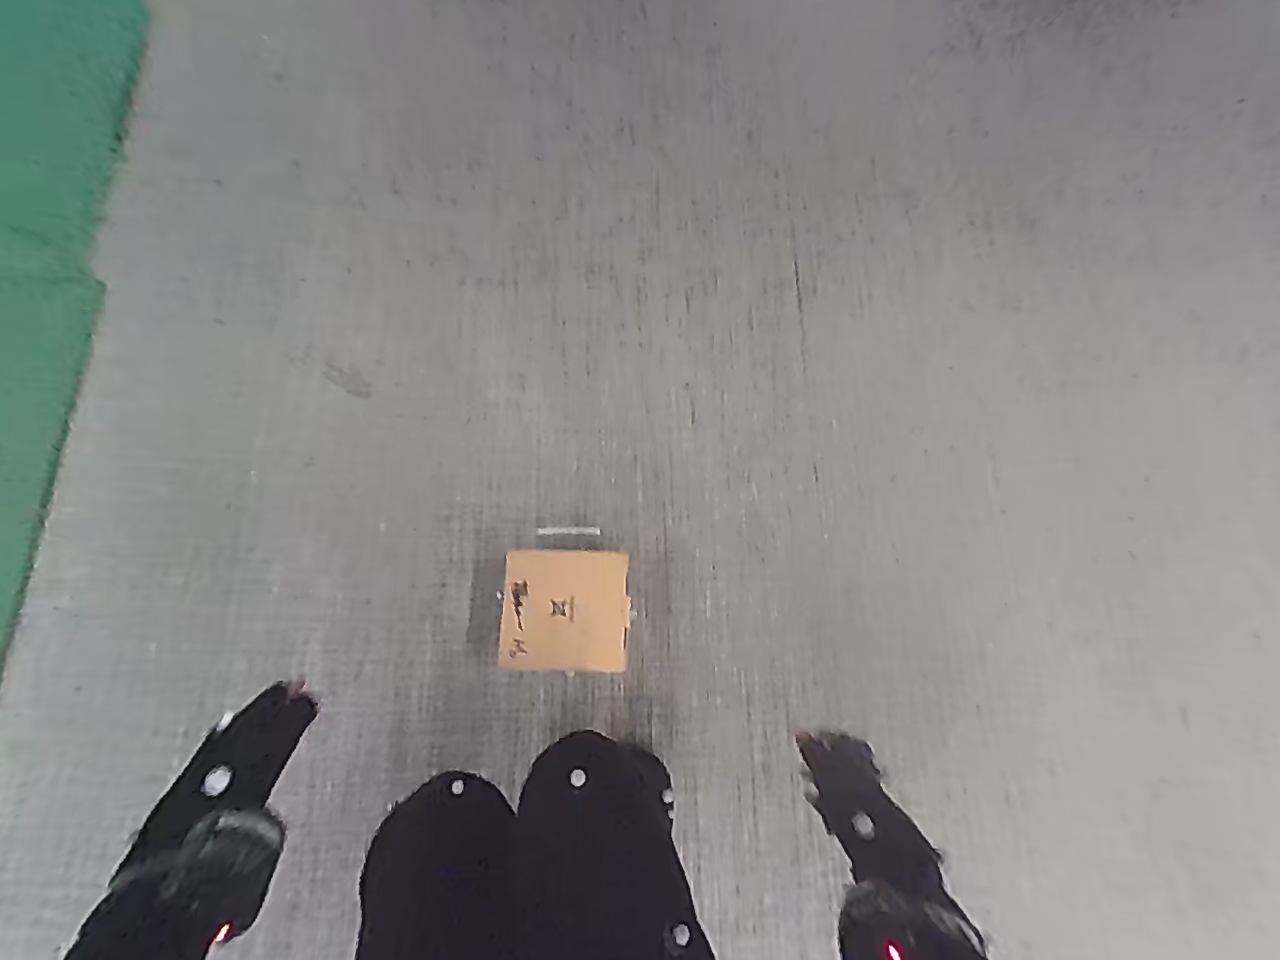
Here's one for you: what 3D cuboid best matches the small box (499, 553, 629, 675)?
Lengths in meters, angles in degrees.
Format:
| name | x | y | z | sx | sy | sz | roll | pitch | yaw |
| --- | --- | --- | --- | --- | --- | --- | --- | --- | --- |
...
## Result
| name | x | y | z | sx | sy | sz | roll | pitch | yaw |
| --- | --- | --- | --- | --- | --- | --- | --- | --- | --- |
| small box | -0.110 | 0.208 | 0.841 | 0.179 | 0.176 | 0.168 | 2 | 74 | -3 |
